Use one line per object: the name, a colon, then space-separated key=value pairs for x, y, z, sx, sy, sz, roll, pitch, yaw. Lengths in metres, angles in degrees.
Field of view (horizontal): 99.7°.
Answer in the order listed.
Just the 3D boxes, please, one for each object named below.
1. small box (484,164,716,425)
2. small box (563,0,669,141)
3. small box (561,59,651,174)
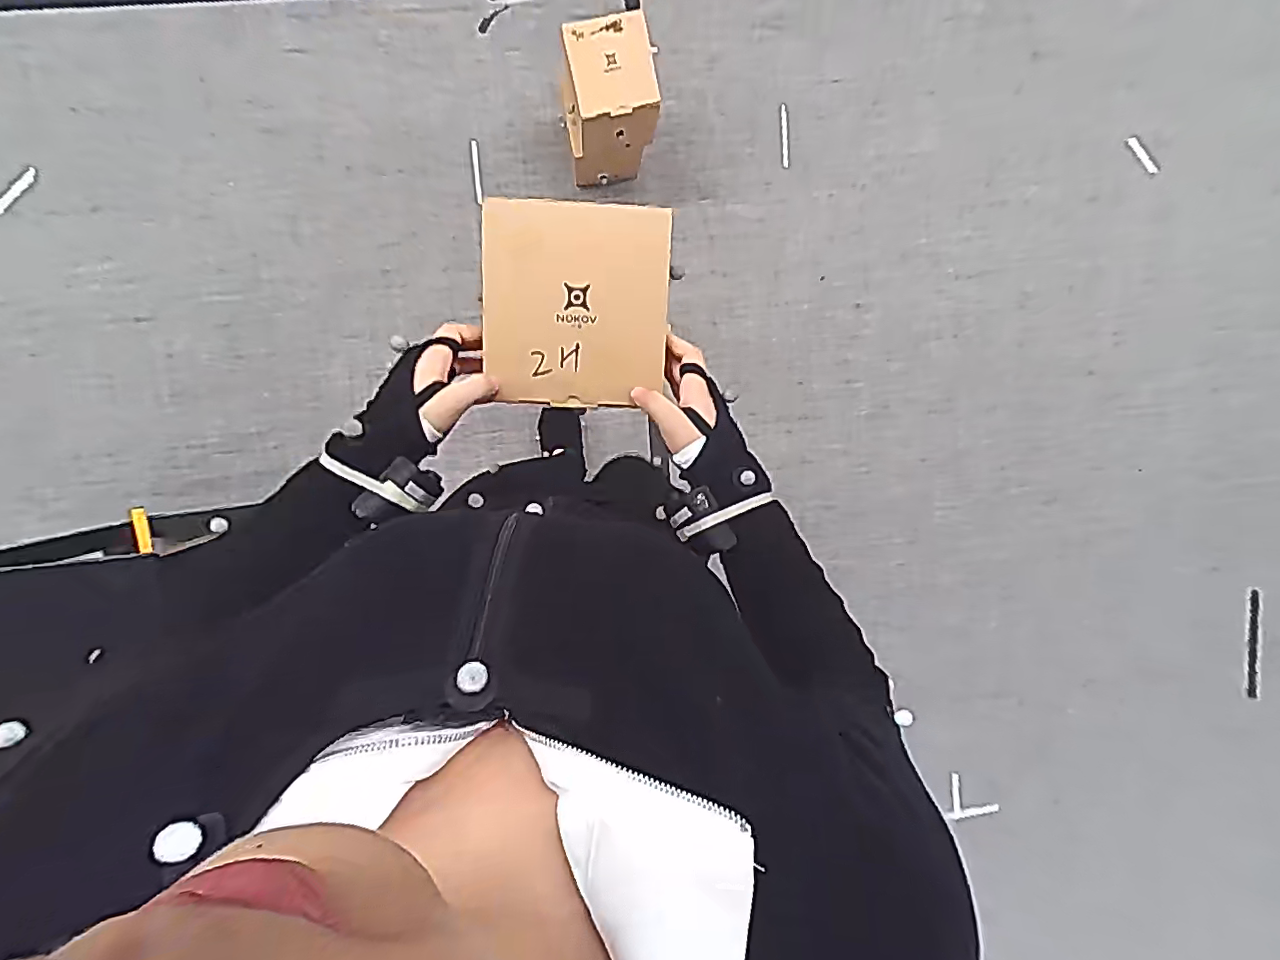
small box: x=-0.035 y=-0.146 z=0.473 sx=0.168 sy=0.176 sz=0.179 roll=2 pitch=101 yaw=-3
small box: x=-0.046 y=-0.792 z=1.053 sx=0.168 sy=0.176 sz=0.179 roll=-13 pitch=99 yaw=-2
small box: x=-0.077 y=-0.812 z=1.214 sx=0.168 sy=0.176 sz=0.179 roll=-12 pitch=99 yaw=-3
